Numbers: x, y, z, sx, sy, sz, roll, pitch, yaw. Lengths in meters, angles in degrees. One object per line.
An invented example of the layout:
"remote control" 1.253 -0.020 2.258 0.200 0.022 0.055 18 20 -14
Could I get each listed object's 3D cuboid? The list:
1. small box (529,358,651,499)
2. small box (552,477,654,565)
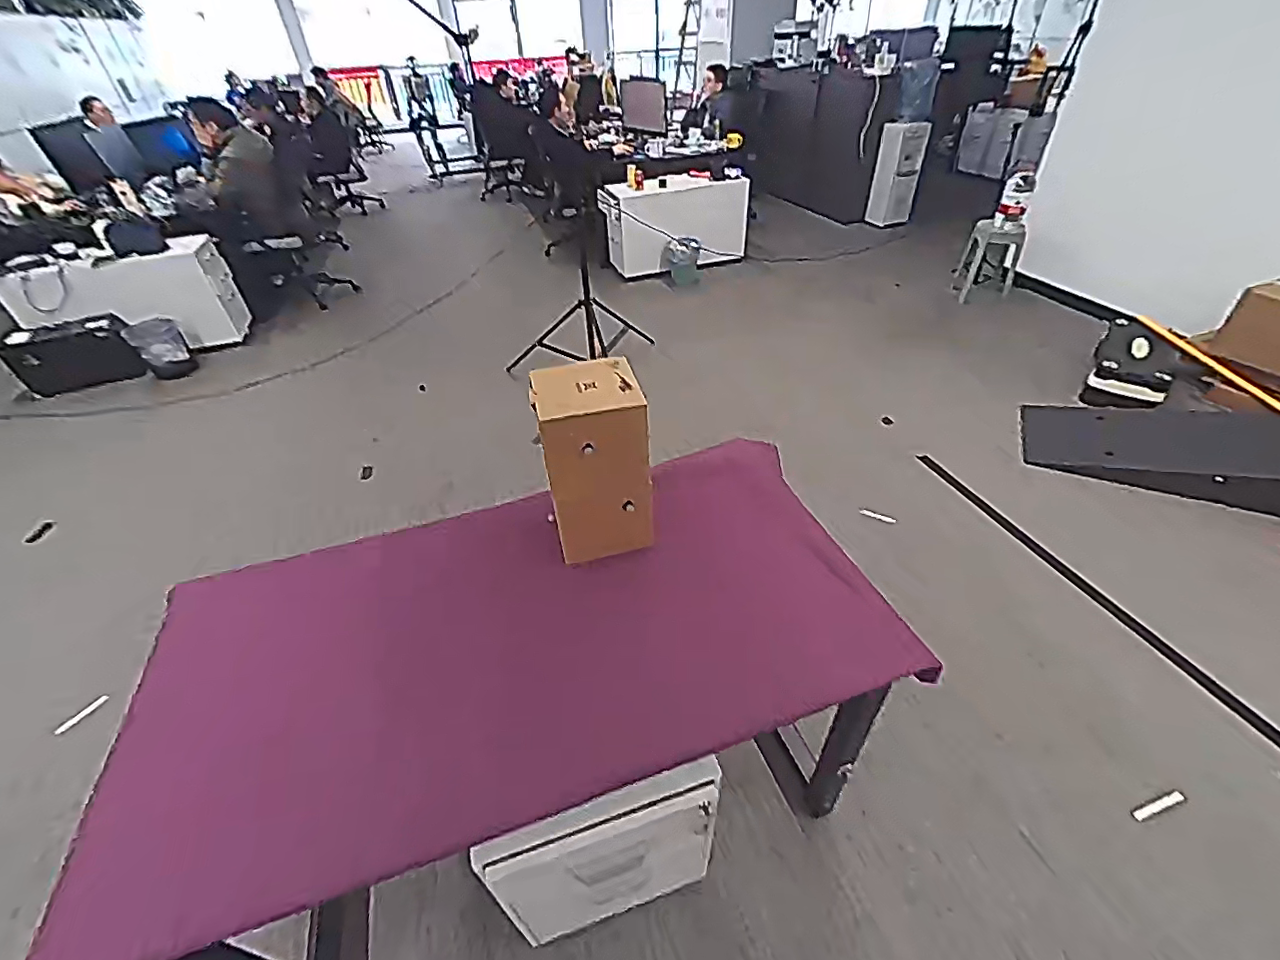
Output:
"small box" -0.085 -0.088 0.943 0.179 0.176 0.168 -12 42 -8
"small box" -0.076 0.038 1.049 0.179 0.176 0.168 -12 41 -10
